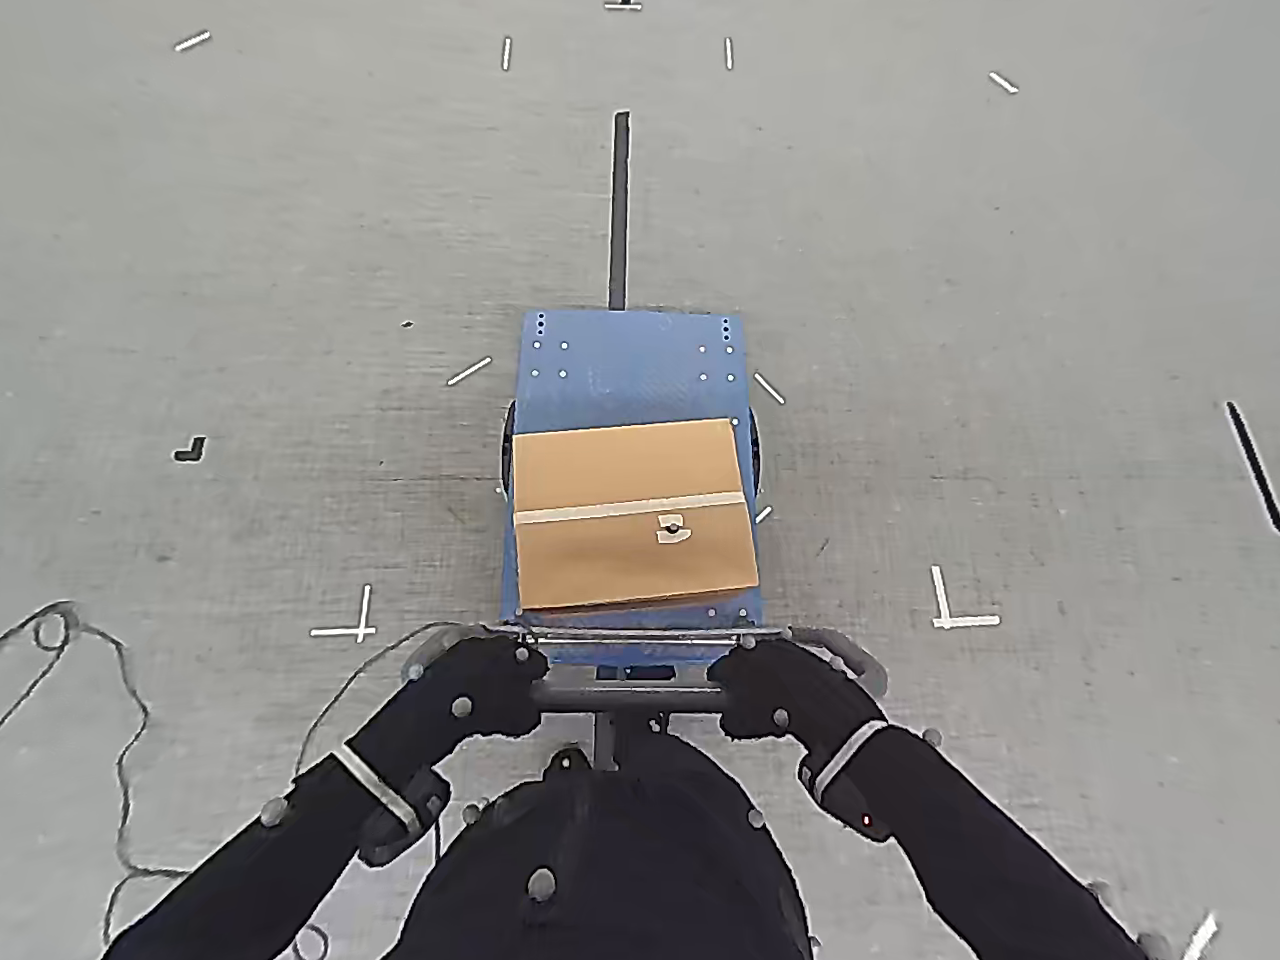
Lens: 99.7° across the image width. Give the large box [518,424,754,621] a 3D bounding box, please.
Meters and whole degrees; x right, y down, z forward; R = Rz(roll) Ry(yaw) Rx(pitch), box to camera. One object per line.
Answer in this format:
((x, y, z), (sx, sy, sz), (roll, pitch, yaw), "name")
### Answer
((-0.022, 0.101, 1.110), (0.408, 0.320, 0.320), (-4, 73, -5), "large box")
